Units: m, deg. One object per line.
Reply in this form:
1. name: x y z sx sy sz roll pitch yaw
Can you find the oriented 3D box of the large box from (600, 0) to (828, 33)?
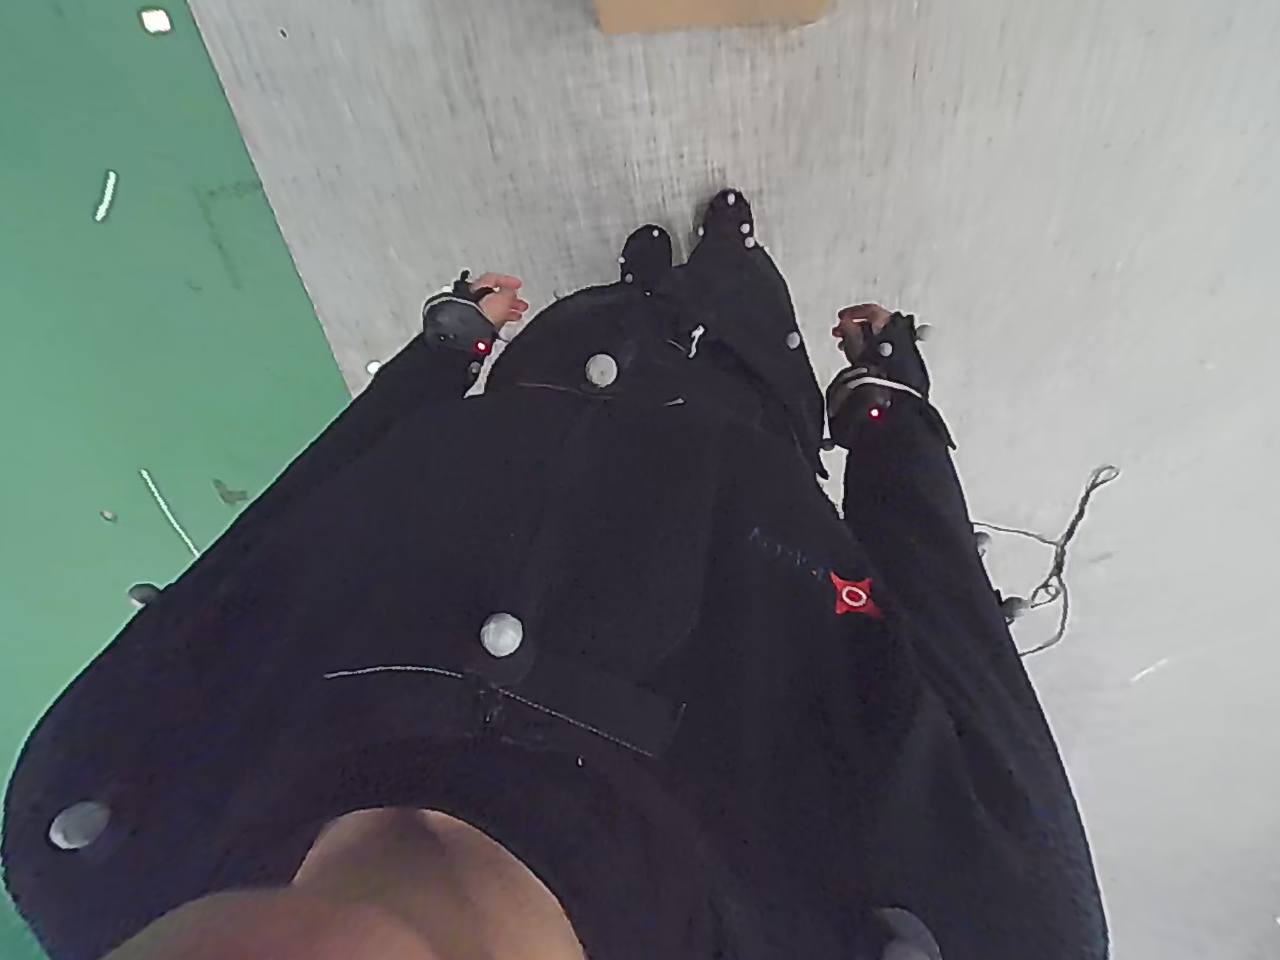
1. large box: 0.122 -0.909 0.800 0.408 0.320 0.320 -4 119 1
